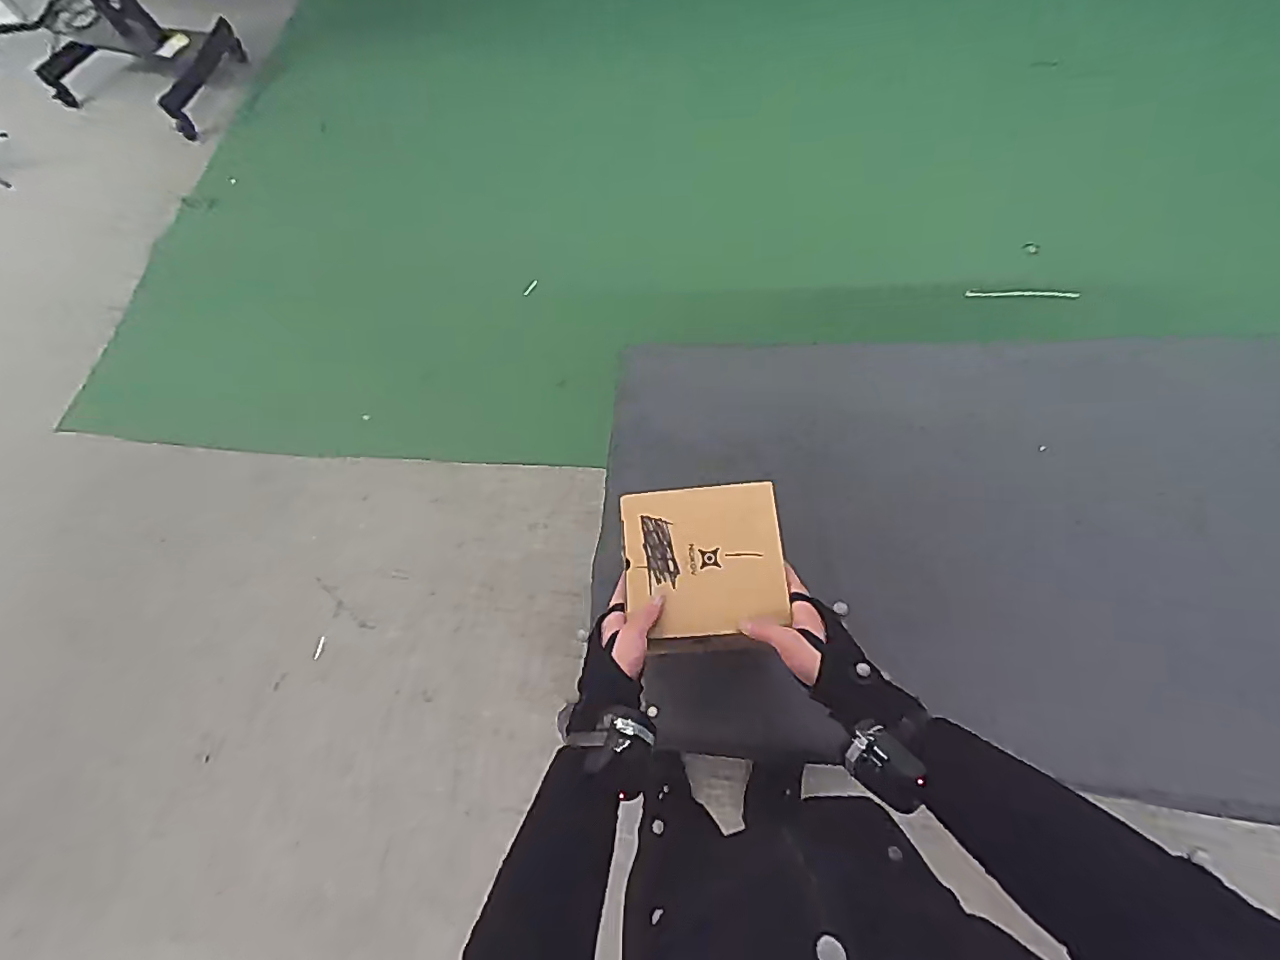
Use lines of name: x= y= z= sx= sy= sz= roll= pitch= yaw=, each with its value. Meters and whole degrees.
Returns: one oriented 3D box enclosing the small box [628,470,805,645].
small box: x=0.083 y=0.101 z=0.645 sx=0.179 sy=0.176 sz=0.168 roll=-4 pitch=67 yaw=3
